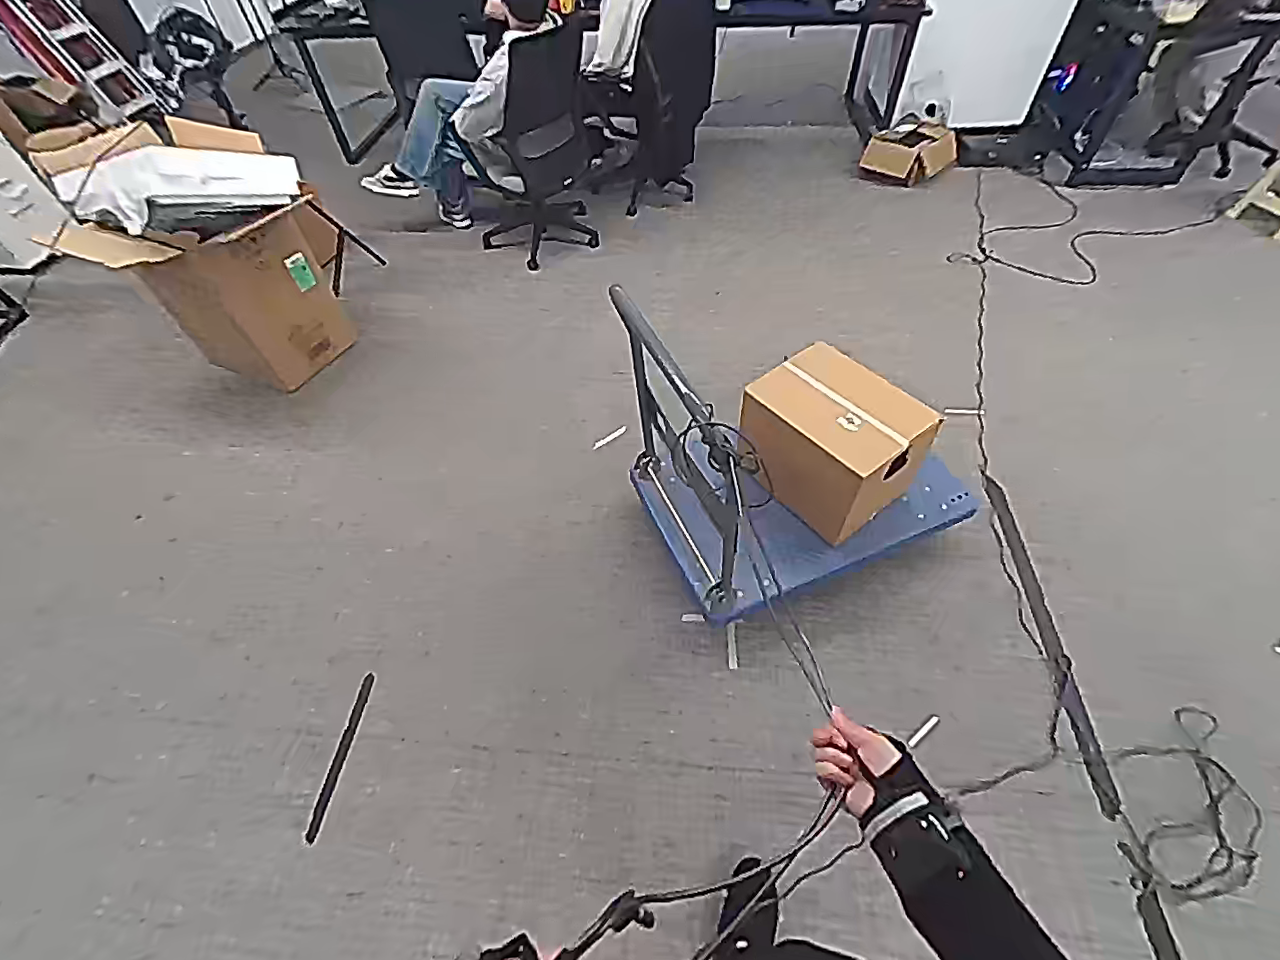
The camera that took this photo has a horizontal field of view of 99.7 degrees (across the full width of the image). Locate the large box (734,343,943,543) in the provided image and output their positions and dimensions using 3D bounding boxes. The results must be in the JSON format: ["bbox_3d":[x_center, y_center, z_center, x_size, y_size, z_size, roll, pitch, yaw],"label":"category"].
[{"bbox_3d":[0.520,-0.107,1.506,0.320,0.320,0.408,-33,58,-19],"label":"large box"}]
